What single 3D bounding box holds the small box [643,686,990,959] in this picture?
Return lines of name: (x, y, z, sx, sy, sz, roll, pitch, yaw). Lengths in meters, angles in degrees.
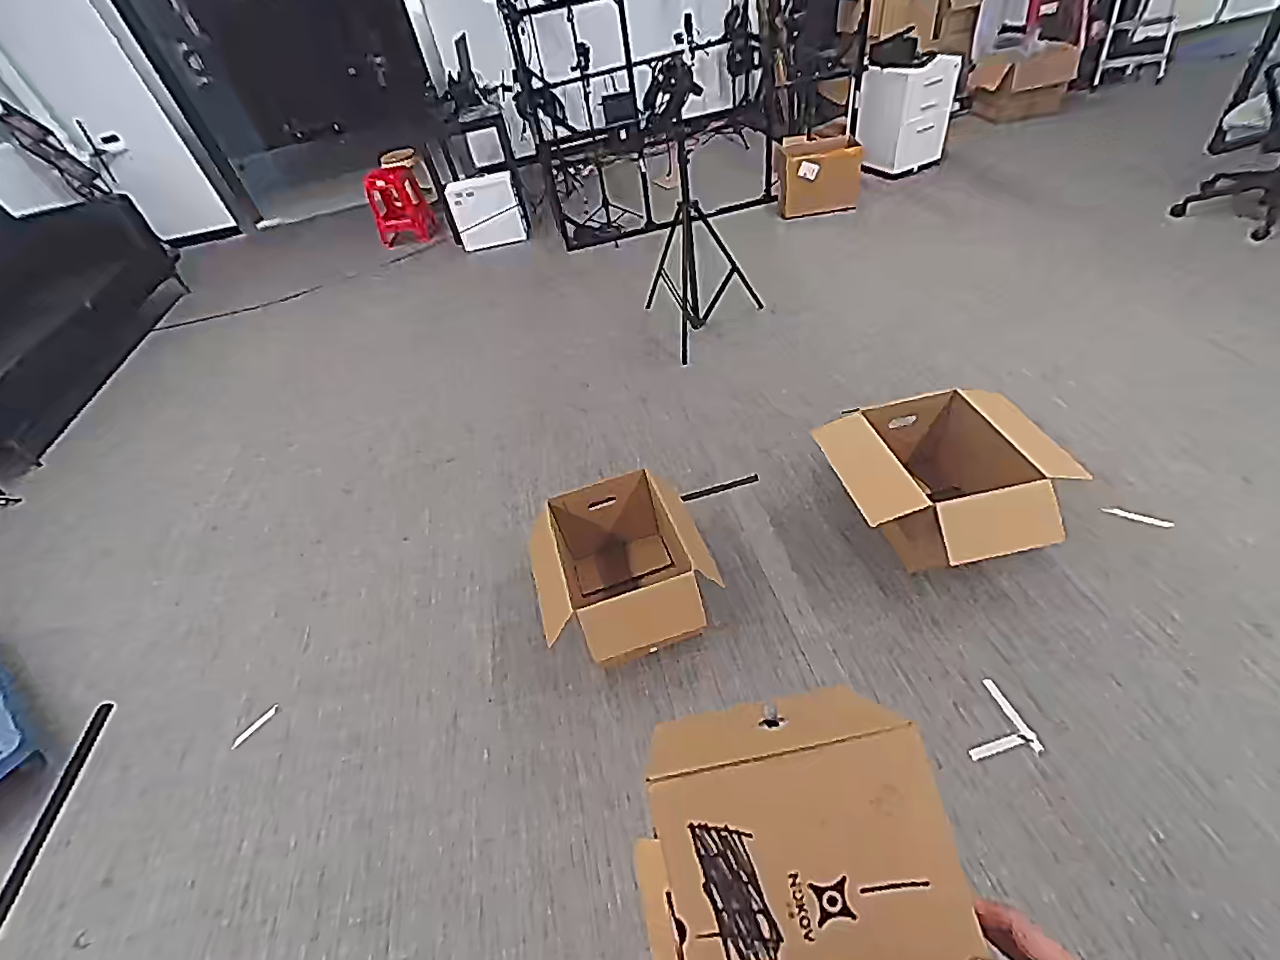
small box: (0.108, 0.259, 0.394, 0.179, 0.176, 0.168, -12, 76, 1)
